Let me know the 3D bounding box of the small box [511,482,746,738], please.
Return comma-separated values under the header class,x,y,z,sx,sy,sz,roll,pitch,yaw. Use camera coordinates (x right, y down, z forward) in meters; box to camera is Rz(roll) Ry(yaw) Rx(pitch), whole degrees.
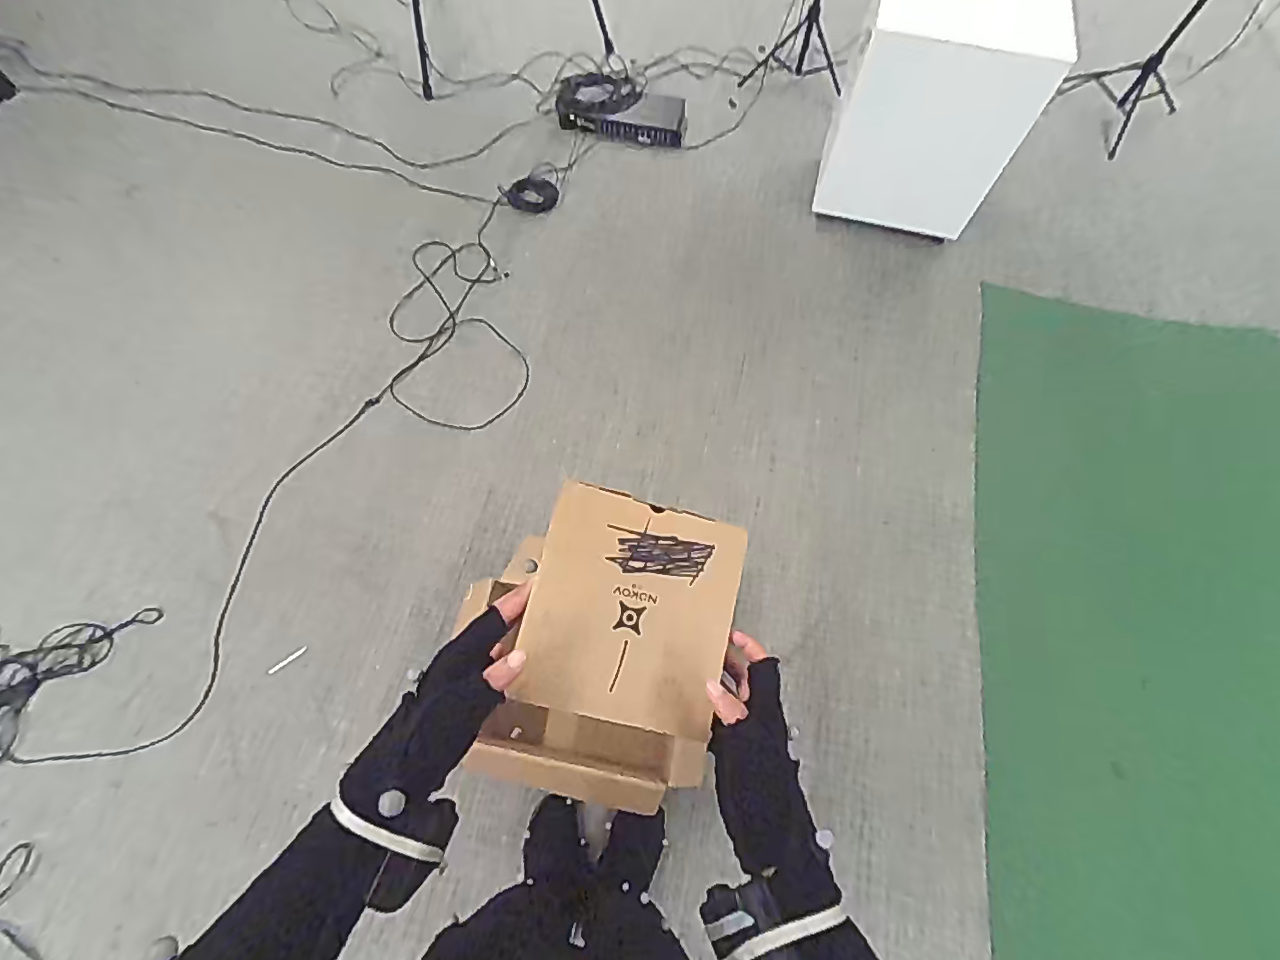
class,x,y,z,sx,sy,sz,roll,pitch,yaw
small box,-0.019,0.118,0.516,0.168,0.176,0.179,15,77,-8
